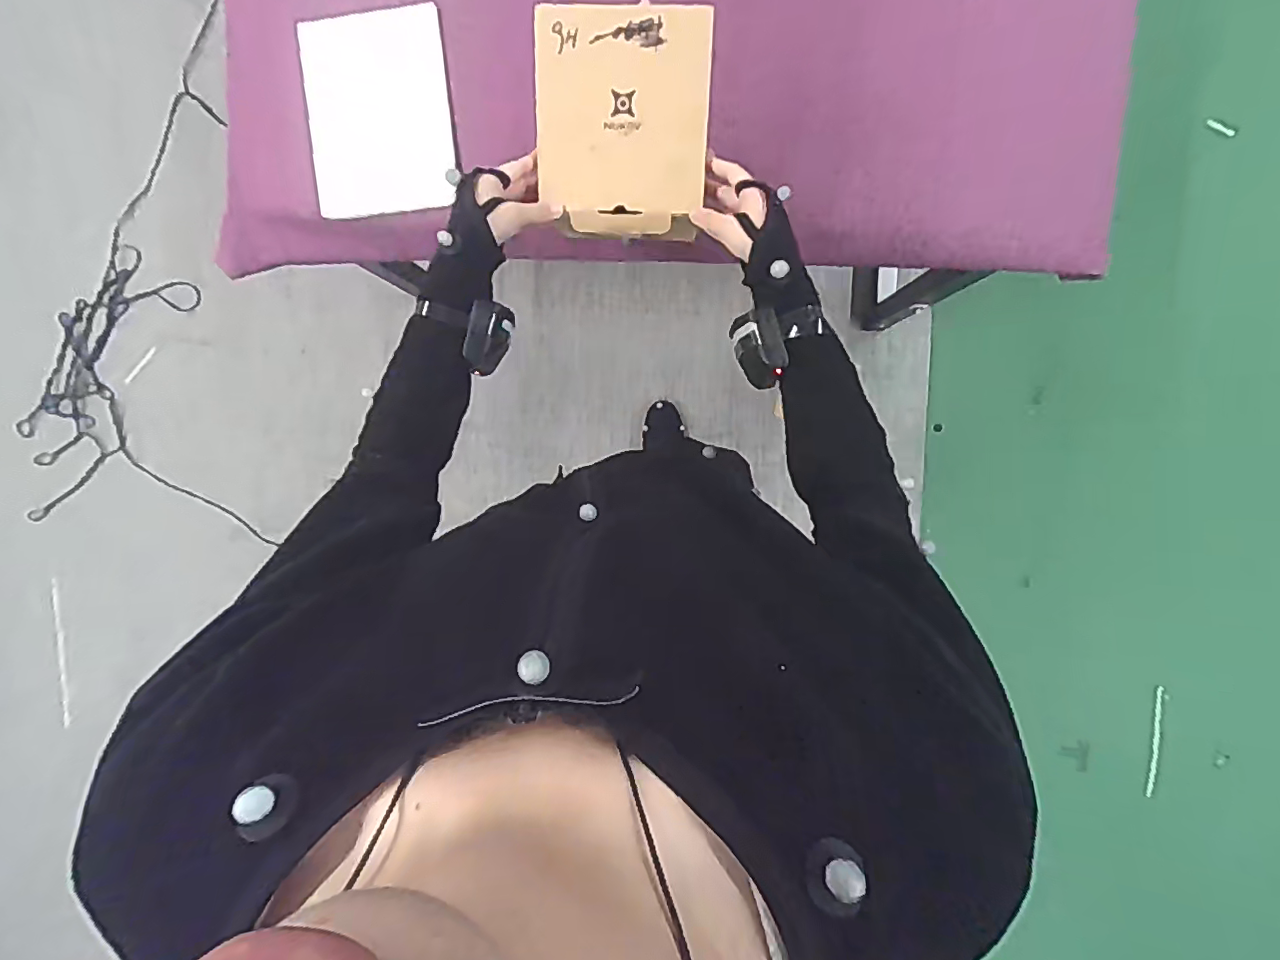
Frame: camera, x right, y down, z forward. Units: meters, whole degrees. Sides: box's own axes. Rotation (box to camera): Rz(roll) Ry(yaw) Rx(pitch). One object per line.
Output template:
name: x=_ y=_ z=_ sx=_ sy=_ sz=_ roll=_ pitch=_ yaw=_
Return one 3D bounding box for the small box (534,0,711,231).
small box: x=-0.015 y=-0.378 z=0.593 sx=0.168 sy=0.176 sz=0.179 roll=3 pitch=108 yaw=2
